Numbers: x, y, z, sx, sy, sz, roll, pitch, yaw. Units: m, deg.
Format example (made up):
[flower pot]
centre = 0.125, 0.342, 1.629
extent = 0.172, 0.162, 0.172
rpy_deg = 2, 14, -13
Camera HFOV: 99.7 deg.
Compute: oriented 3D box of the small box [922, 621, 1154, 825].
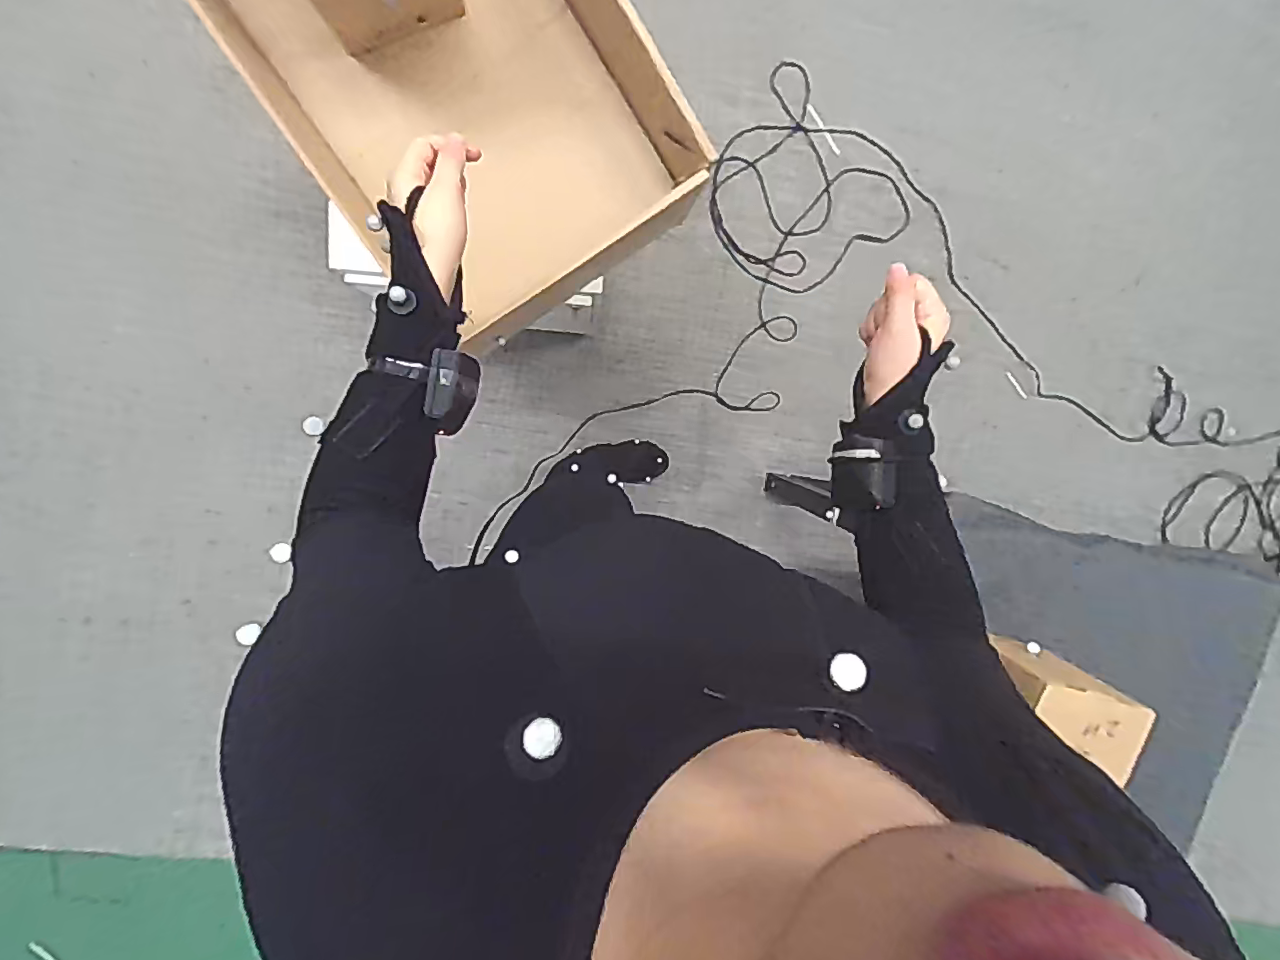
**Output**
[small box]
centre = 0.530, 0.326, 0.751
extent = 0.168, 0.176, 0.179
rpy_deg = 17, 96, -8
